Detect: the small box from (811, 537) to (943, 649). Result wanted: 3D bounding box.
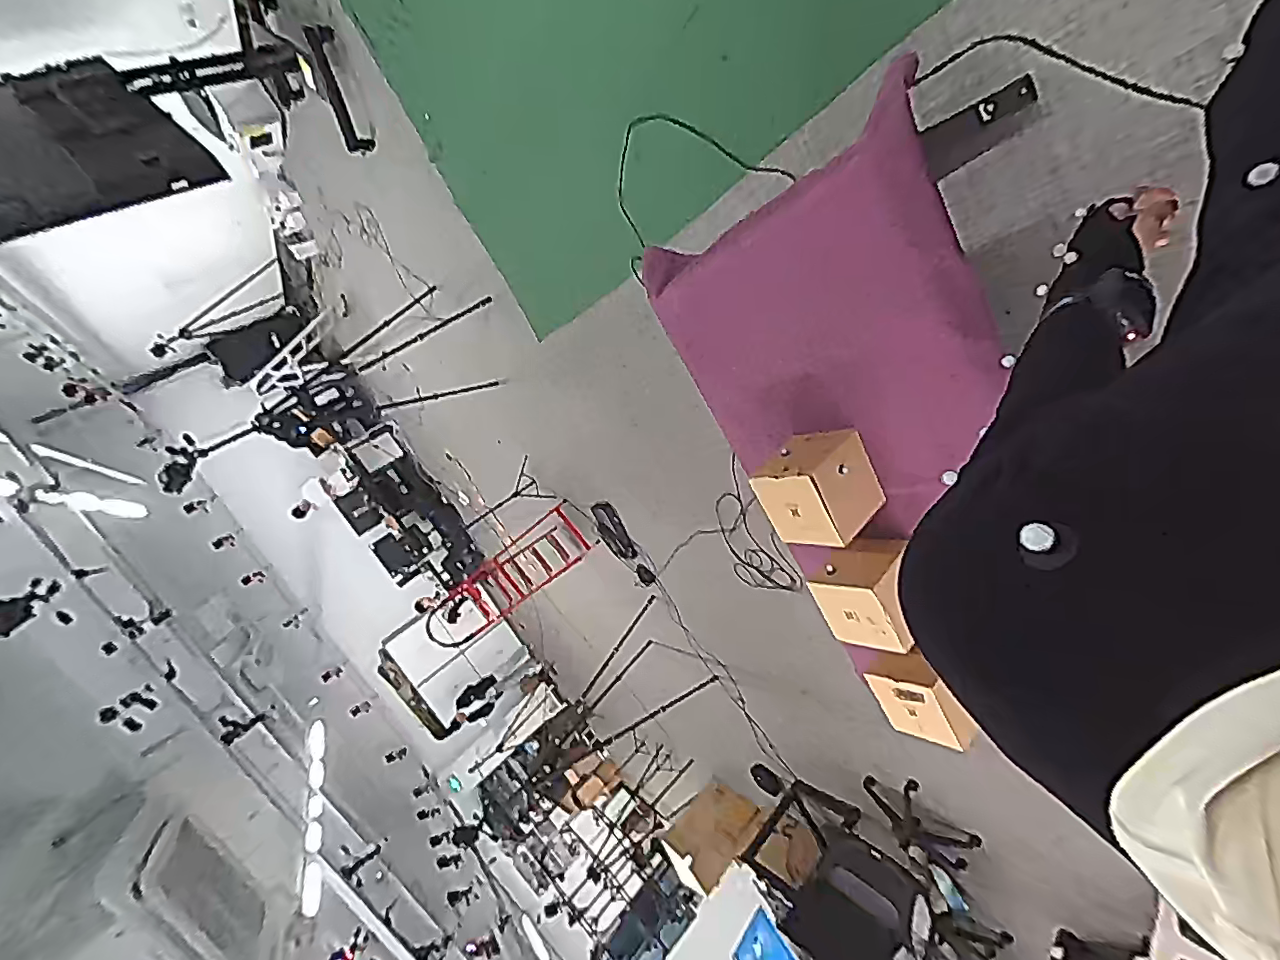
[{"bbox_3d":[0.516,0.236,1.177,0.179,0.176,0.168,-10,114,58],"label":"small box"}]

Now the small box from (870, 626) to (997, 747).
[{"bbox_3d":[0.657,0.447,1.210,0.179,0.176,0.168,58,152,-12],"label":"small box"}]

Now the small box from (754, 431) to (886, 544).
[{"bbox_3d":[0.377,0.010,1.125,0.168,0.176,0.179,-3,120,58],"label":"small box"}]
